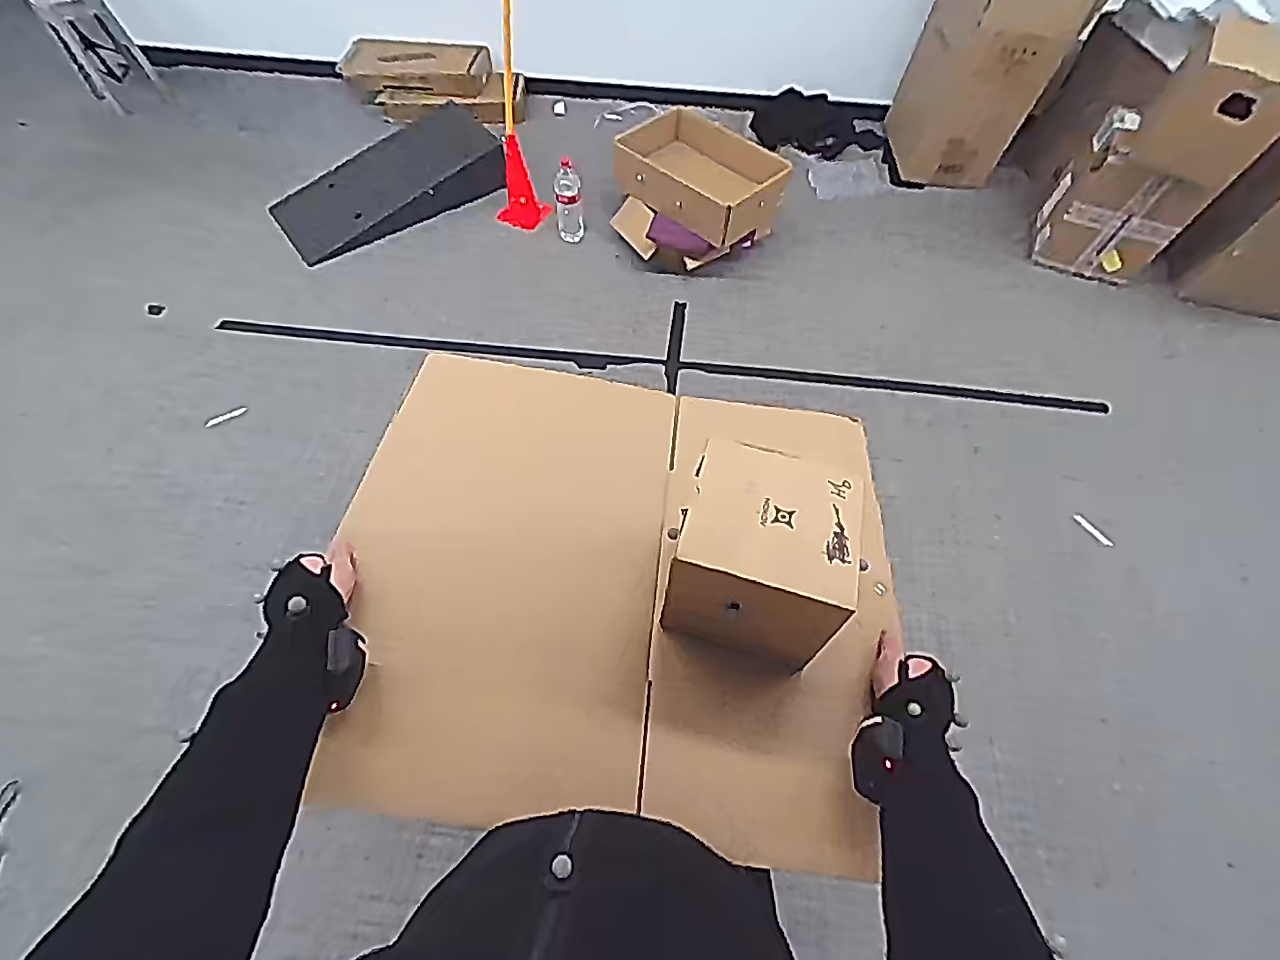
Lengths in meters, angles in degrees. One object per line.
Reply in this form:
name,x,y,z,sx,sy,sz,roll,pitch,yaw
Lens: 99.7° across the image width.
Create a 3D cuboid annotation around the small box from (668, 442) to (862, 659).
small box,0.136,0.086,0.622,0.179,0.176,0.168,14,55,8
